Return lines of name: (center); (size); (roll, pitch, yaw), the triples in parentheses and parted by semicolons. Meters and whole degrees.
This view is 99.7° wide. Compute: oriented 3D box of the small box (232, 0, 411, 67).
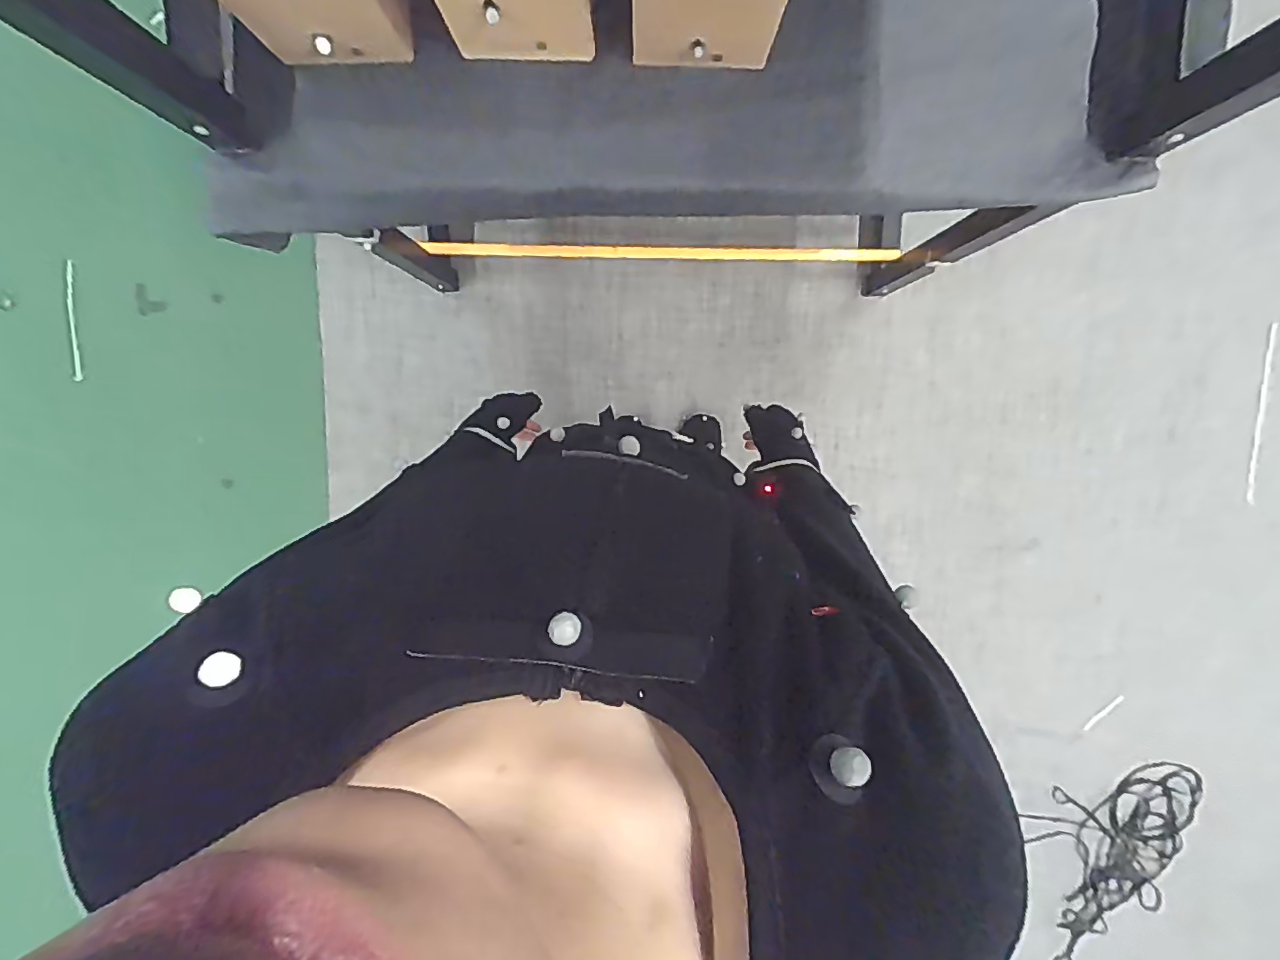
small box: (-0.367, -0.597, 0.588); (0.168, 0.176, 0.179); (-2, 97, 0)

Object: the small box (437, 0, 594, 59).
small box: (-0.140, -0.601, 0.589); (0.168, 0.176, 0.179); (0, 96, 0)
